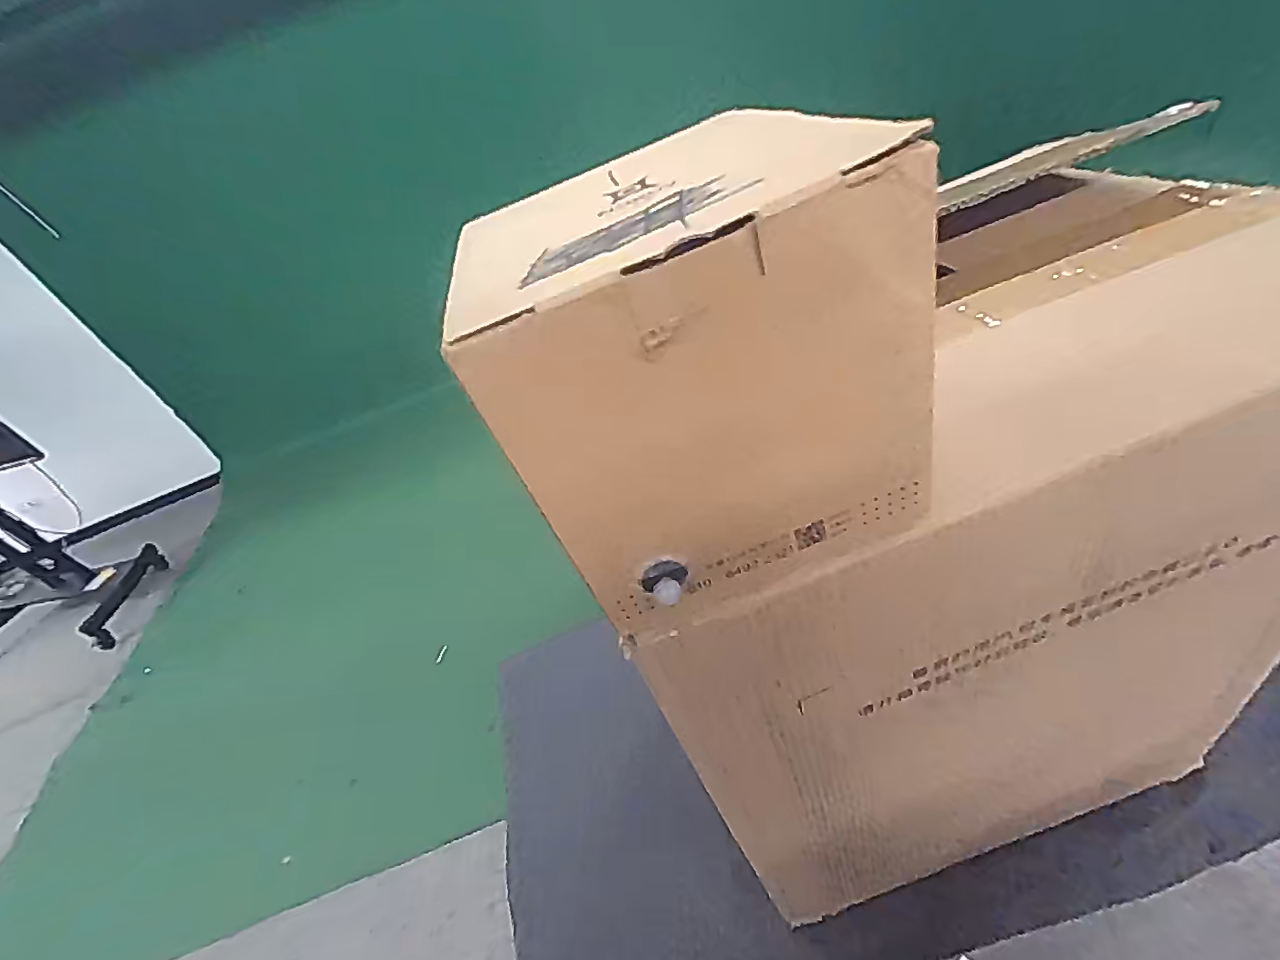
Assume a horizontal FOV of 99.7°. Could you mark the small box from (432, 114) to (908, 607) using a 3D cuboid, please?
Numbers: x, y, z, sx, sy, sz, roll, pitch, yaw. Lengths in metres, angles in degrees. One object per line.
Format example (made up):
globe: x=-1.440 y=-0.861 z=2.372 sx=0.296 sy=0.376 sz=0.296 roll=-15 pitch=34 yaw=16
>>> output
small box: x=0.018 y=-0.058 z=0.282 sx=0.168 sy=0.176 sz=0.179 roll=-22 pitch=38 yaw=3
